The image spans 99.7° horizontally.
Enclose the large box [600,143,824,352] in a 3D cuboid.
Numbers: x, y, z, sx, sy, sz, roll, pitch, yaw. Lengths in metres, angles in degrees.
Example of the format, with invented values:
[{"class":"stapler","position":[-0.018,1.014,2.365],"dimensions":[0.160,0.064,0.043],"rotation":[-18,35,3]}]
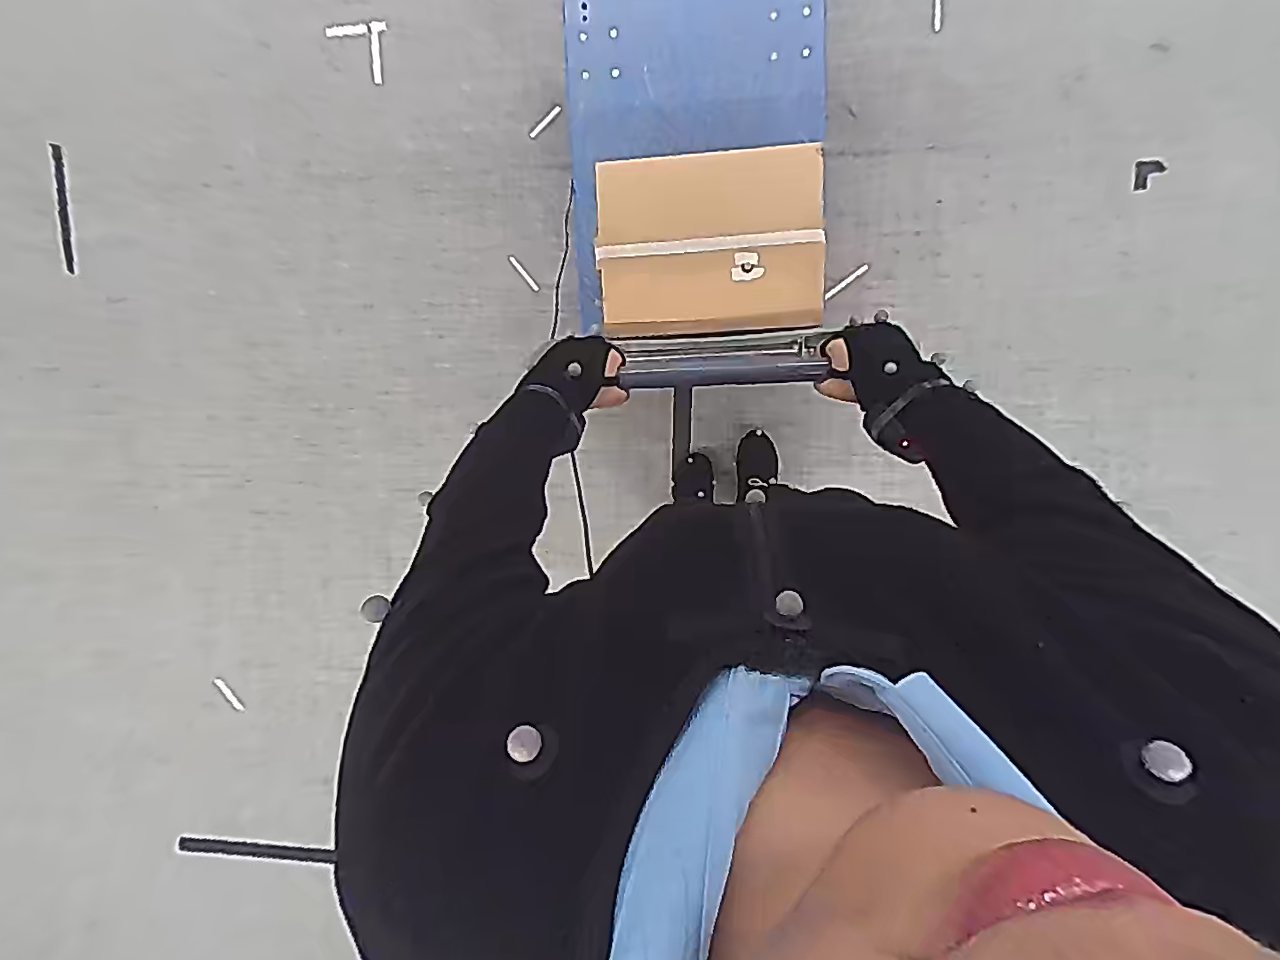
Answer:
[{"class":"large box","position":[0.143,-0.456,1.142],"dimensions":[0.408,0.320,0.320],"rotation":[-3,99,5]}]
